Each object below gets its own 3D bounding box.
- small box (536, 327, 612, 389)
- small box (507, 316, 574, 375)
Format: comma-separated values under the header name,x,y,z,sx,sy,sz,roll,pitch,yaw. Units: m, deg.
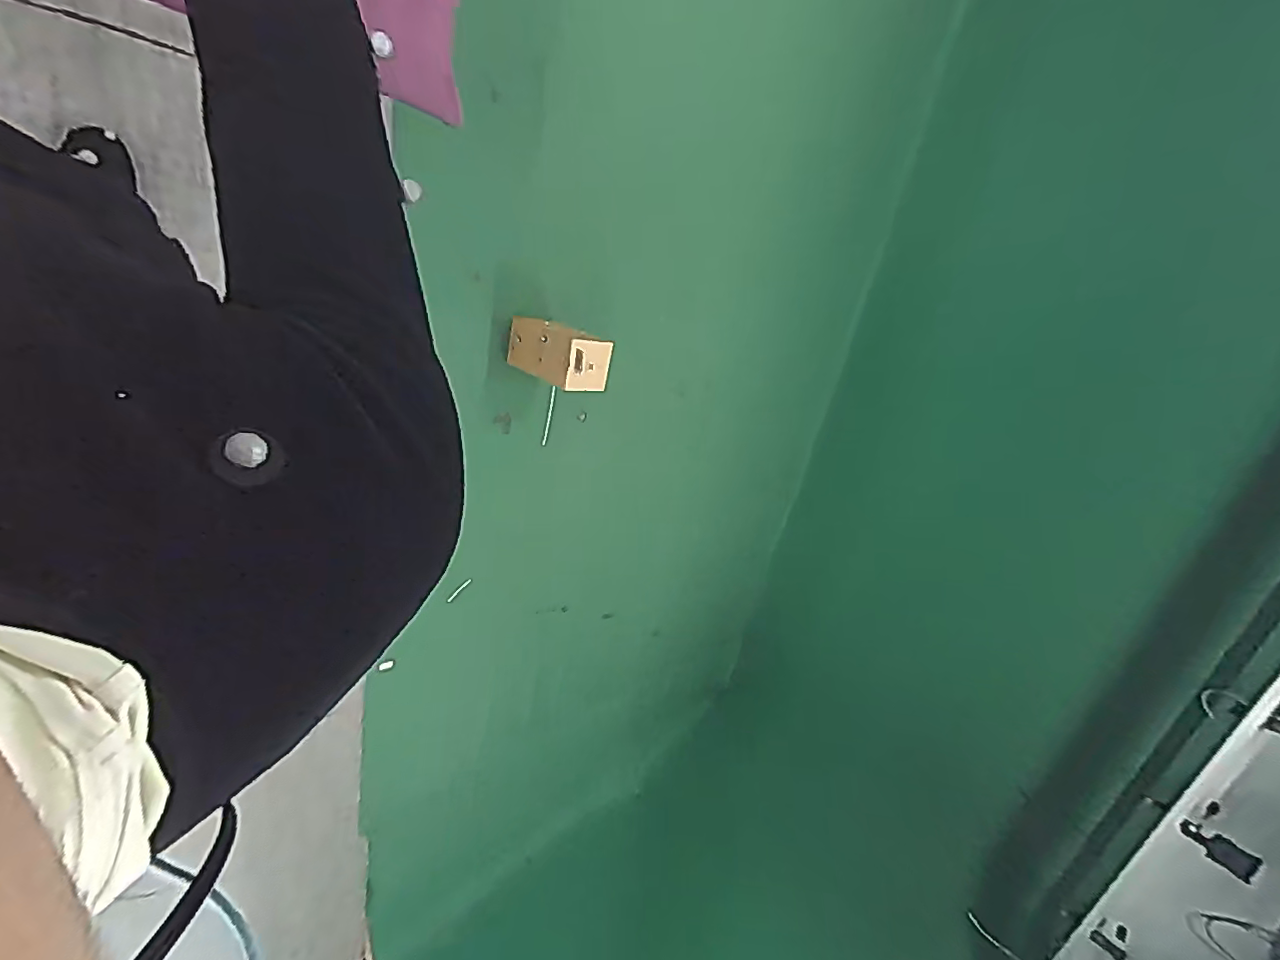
name,x,y,z,sx,sy,sz,roll,pitch,yaw
small box,-0.225,-0.406,1.797,0.179,0.176,0.168,-10,121,-47
small box,-0.339,-0.470,1.895,0.179,0.176,0.168,-9,120,-46
